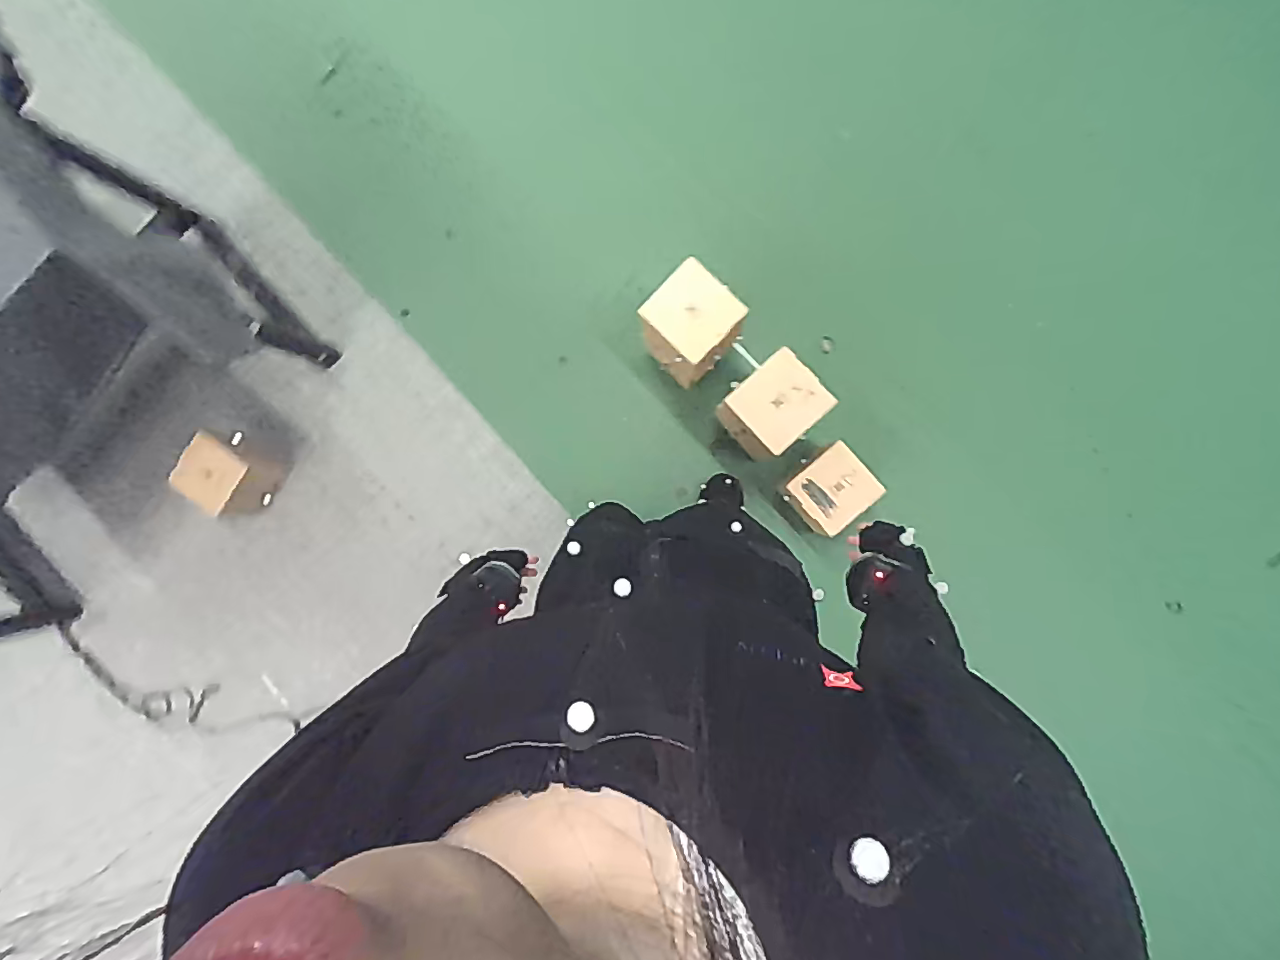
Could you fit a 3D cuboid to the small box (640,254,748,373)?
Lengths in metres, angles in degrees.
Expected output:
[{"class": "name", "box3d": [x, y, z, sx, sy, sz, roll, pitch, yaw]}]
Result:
[{"class": "small box", "box3d": [0.119, -0.369, 1.238, 0.168, 0.176, 0.179, -45, 87, 3]}]

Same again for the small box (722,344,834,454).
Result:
[{"class": "small box", "box3d": [0.300, -0.172, 1.224, 0.179, 0.176, 0.168, -41, 88, 3]}]

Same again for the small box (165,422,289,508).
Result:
[{"class": "small box", "box3d": [-1.136, -0.038, 1.500, 0.179, 0.176, 0.168, 36, 93, 4]}]
